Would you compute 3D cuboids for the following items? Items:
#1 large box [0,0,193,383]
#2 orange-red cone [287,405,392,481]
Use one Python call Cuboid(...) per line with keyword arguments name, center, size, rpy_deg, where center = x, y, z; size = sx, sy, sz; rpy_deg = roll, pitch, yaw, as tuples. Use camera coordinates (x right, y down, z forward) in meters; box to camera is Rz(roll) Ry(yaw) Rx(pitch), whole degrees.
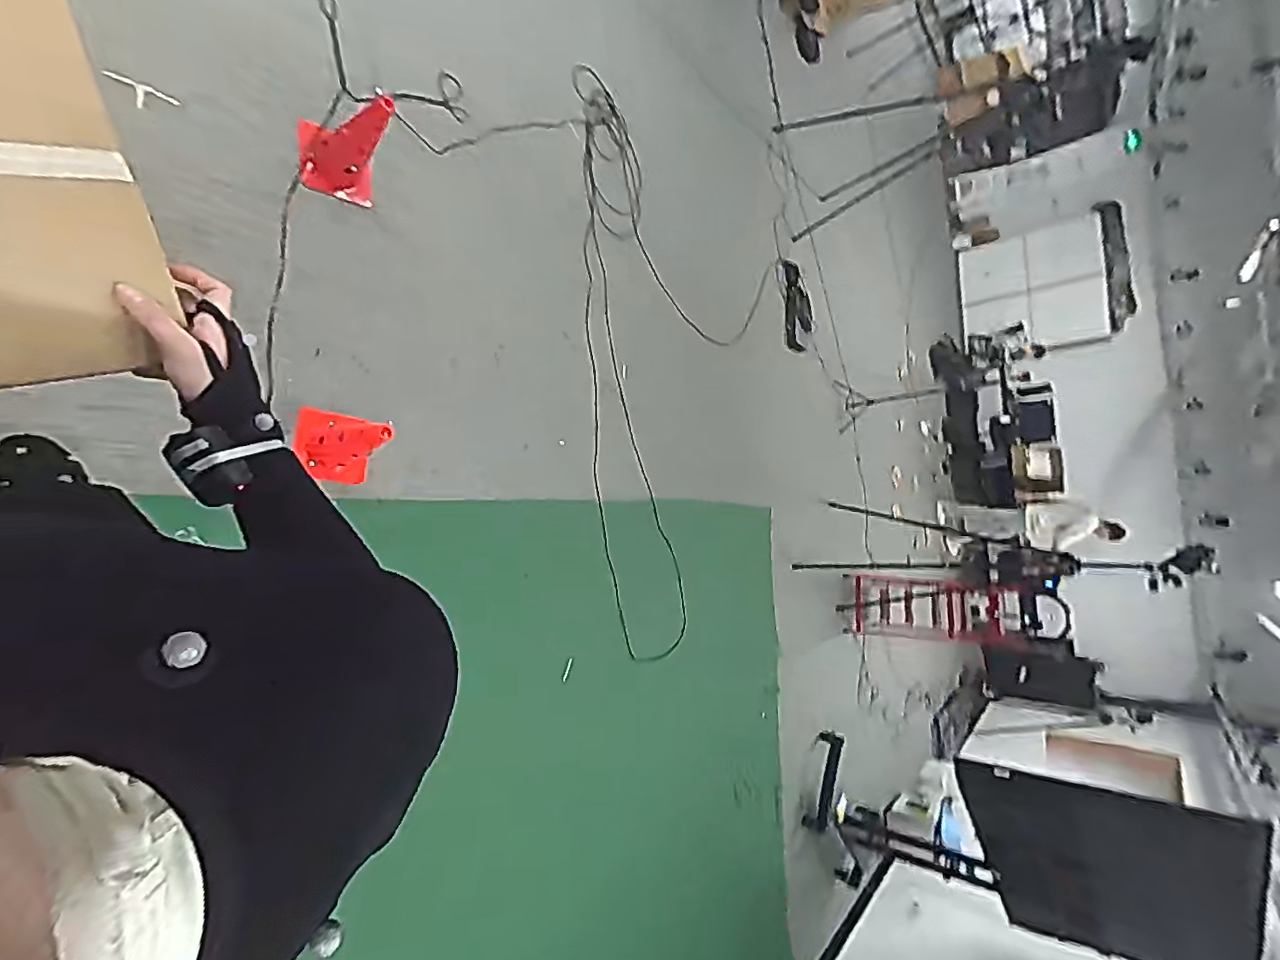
Cuboid(name="large box", center=(-0.667, -0.216, 0.399), size=(0.408, 0.320, 0.320), rpy_deg=(-28, 120, -47))
Cuboid(name="orange-red cone", center=(-0.768, -0.114, 1.458), size=(0.199, 0.360, 0.198), rpy_deg=(14, 76, -49))
